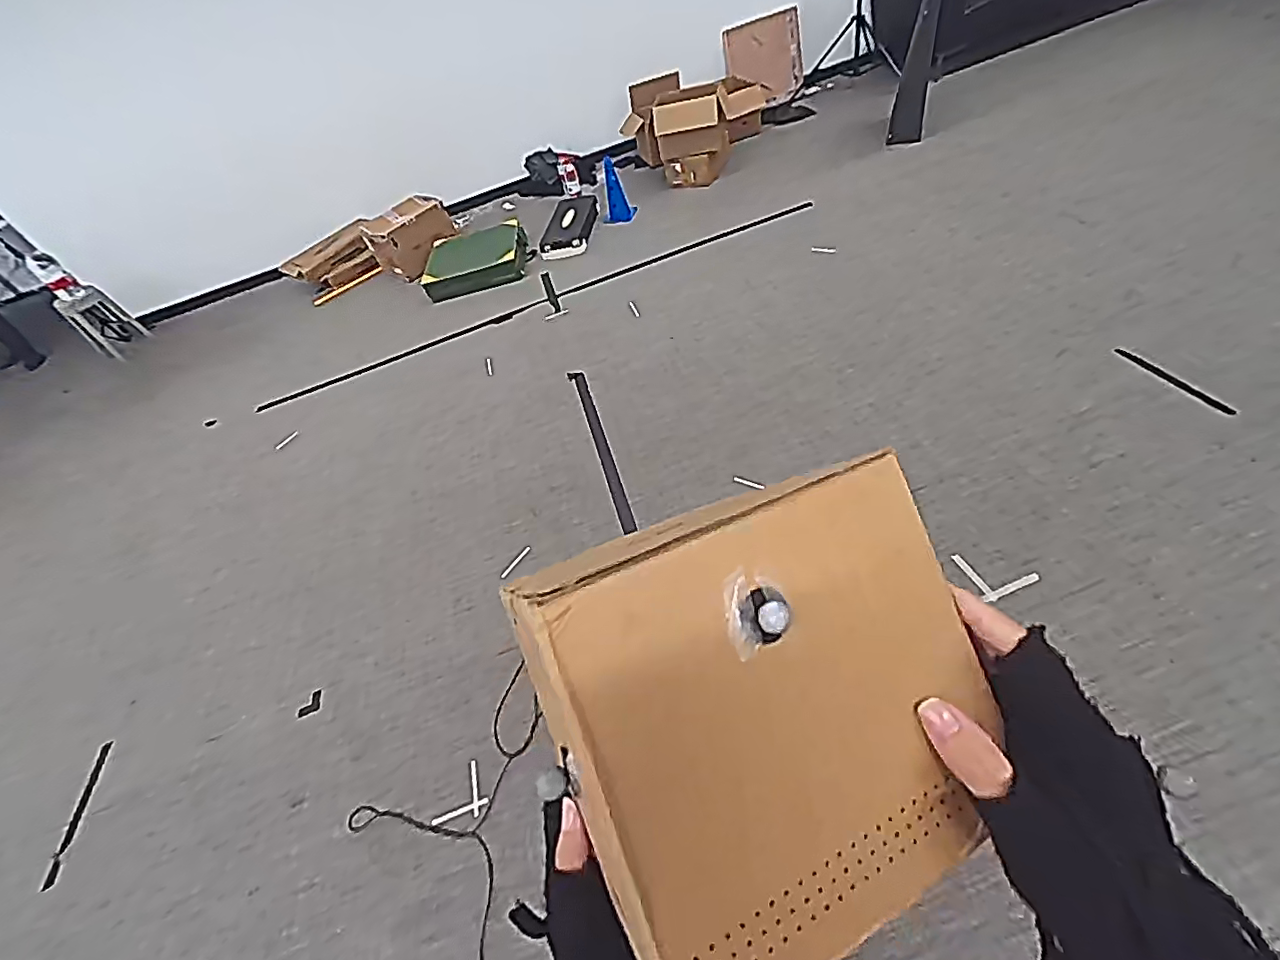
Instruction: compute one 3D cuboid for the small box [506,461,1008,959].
[{"bbox_3d":[0.045,0.109,0.286,0.179,0.168,0.176,-20,87,-20],"label":"small box"}]
